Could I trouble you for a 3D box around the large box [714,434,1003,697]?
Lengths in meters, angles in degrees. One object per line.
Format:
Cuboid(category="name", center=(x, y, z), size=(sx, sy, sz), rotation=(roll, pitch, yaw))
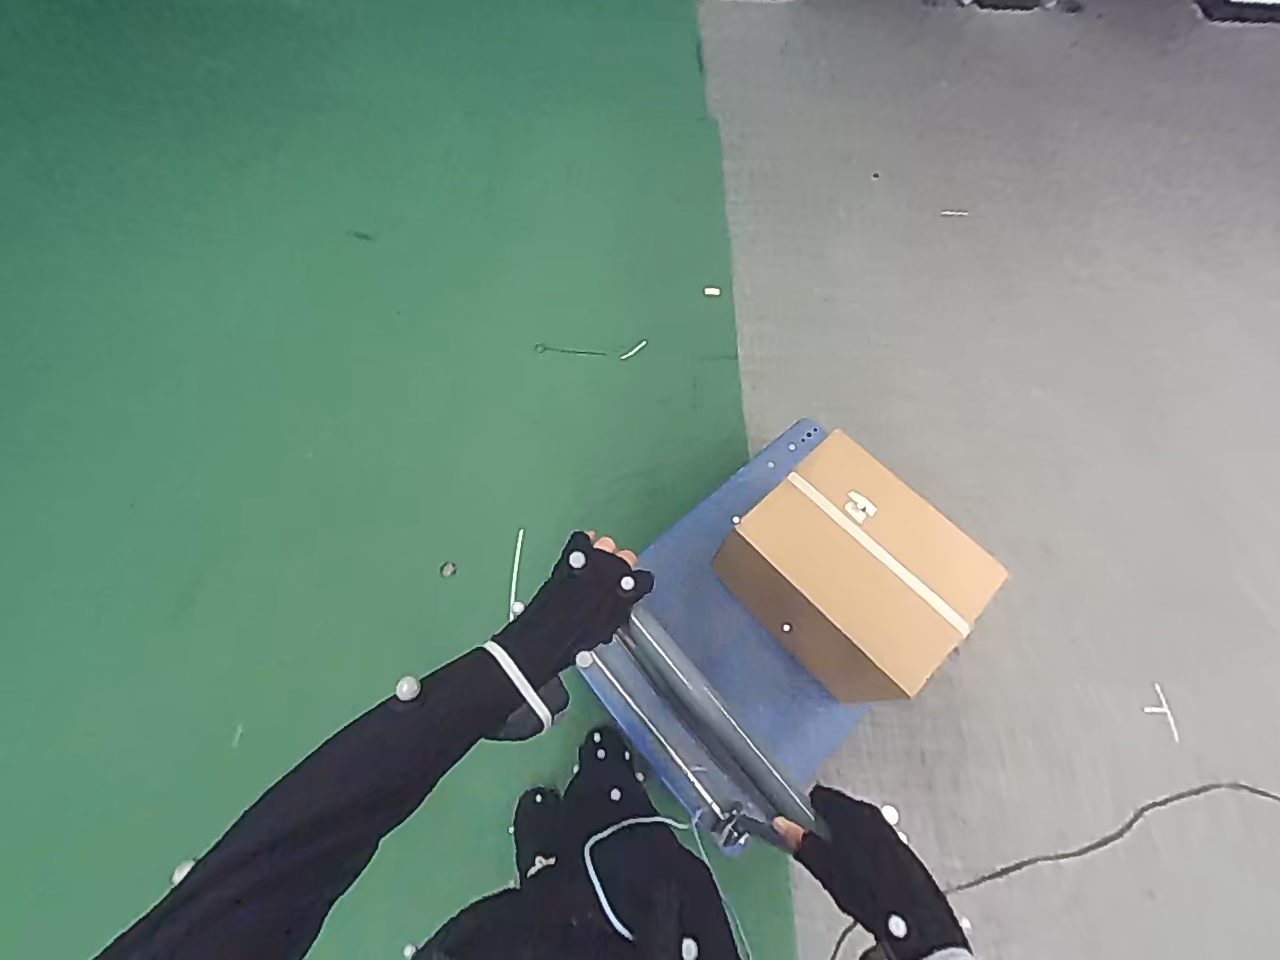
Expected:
Cuboid(category="large box", center=(0.417, 0.189, 1.129), size=(0.320, 0.320, 0.408), rotation=(-41, 72, -18))
